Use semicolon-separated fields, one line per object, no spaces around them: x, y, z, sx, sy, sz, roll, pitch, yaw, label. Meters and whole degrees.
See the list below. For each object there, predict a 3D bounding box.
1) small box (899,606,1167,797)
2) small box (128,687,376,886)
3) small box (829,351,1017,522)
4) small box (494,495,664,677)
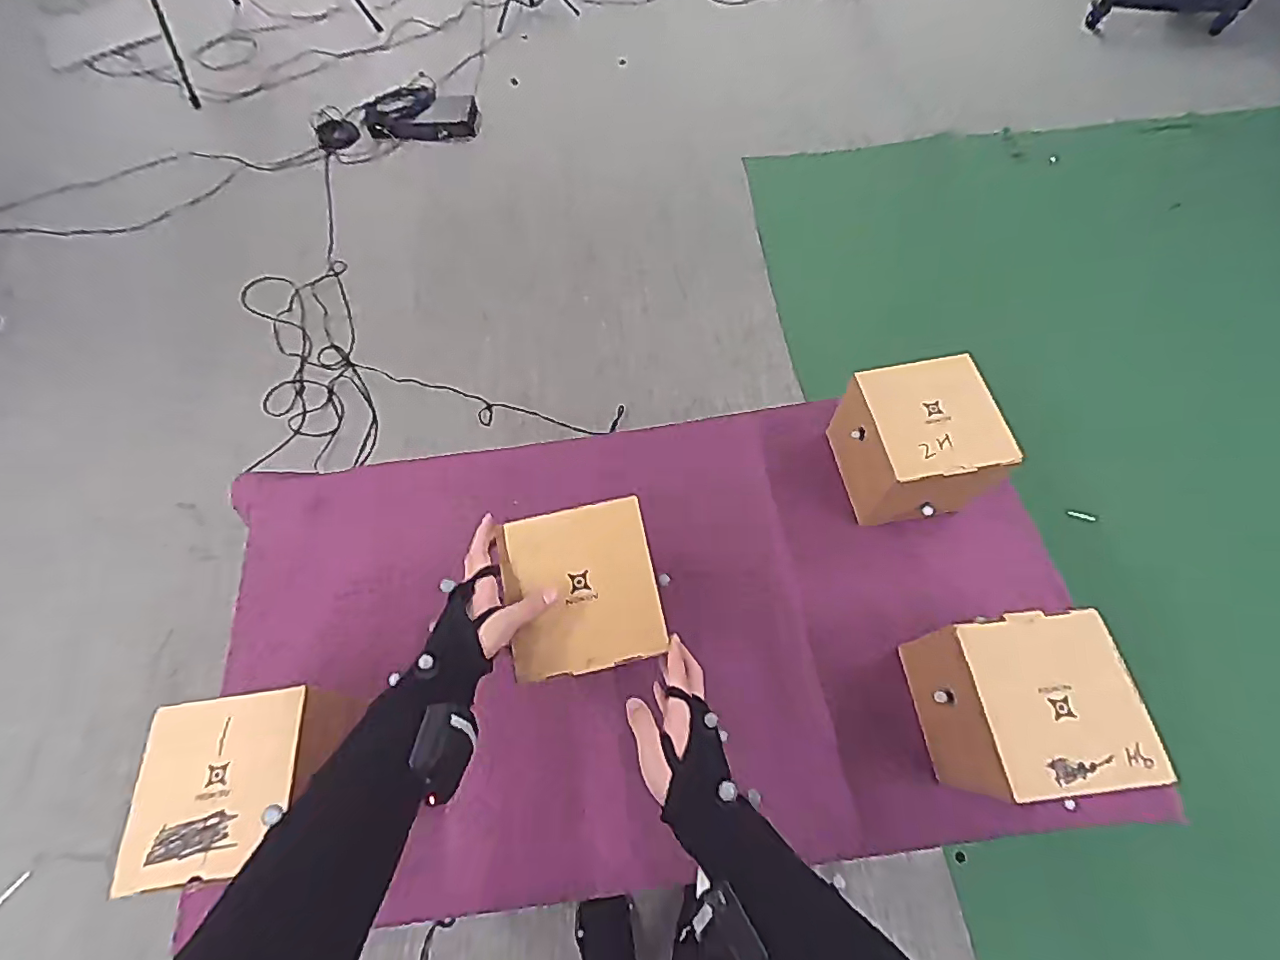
0.436;0.262;0.642;0.168;0.176;0.179;-8;65;2;small box
-0.444;0.359;0.655;0.168;0.176;0.179;-8;63;0;small box
0.392;-0.058;0.792;0.168;0.176;0.179;-11;65;2;small box
-0.070;0.135;0.675;0.168;0.176;0.179;-13;75;-1;small box
